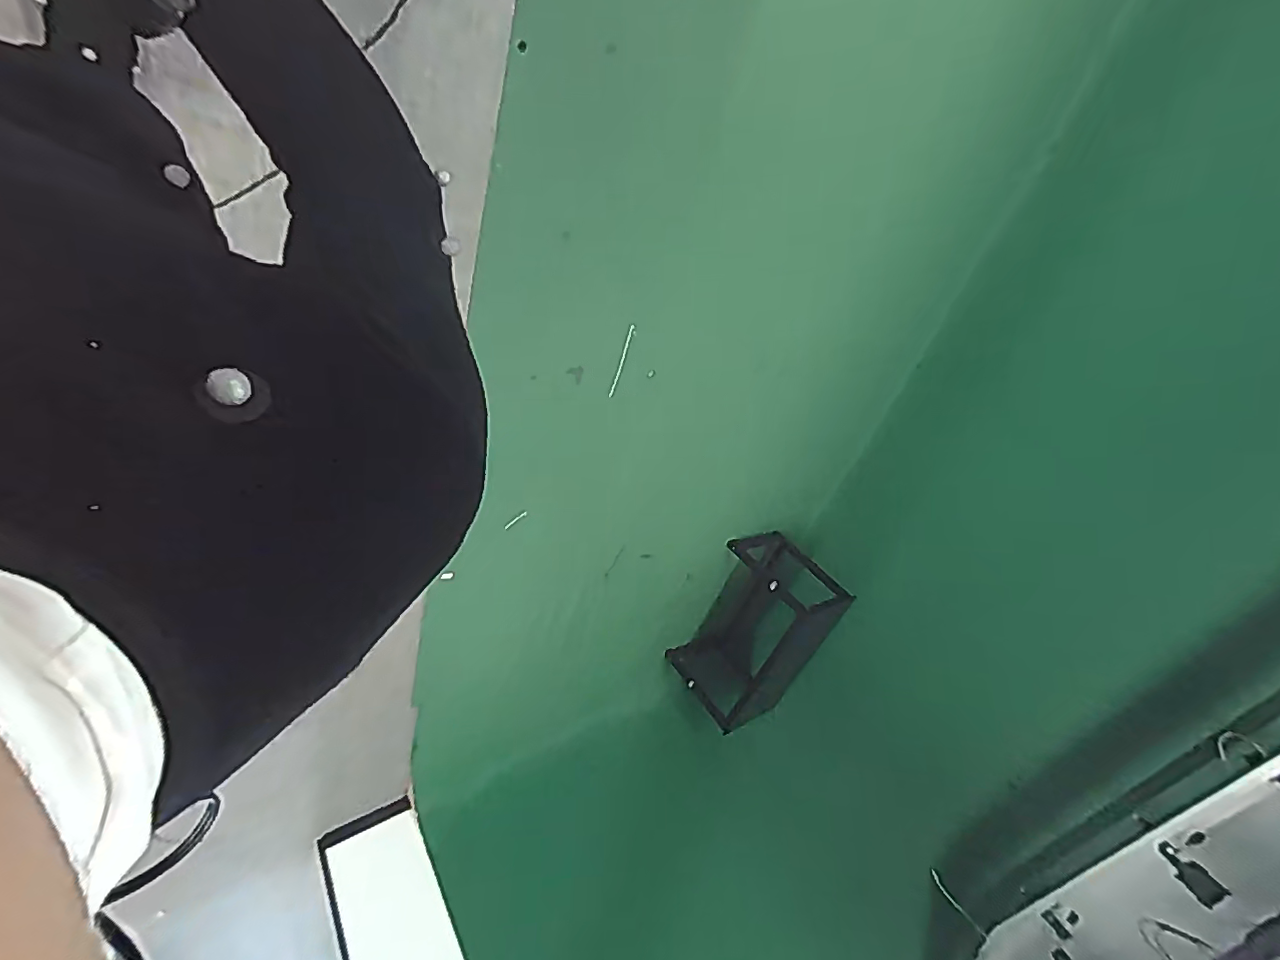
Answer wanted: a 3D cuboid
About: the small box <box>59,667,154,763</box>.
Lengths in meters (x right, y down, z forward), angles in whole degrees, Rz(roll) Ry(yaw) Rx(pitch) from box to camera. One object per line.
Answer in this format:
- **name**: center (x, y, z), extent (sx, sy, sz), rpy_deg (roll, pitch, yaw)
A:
- **small box**: center (-1.605, 0.705, 1.637), extent (0.179, 0.176, 0.168), rpy_deg (-12, 132, -37)
